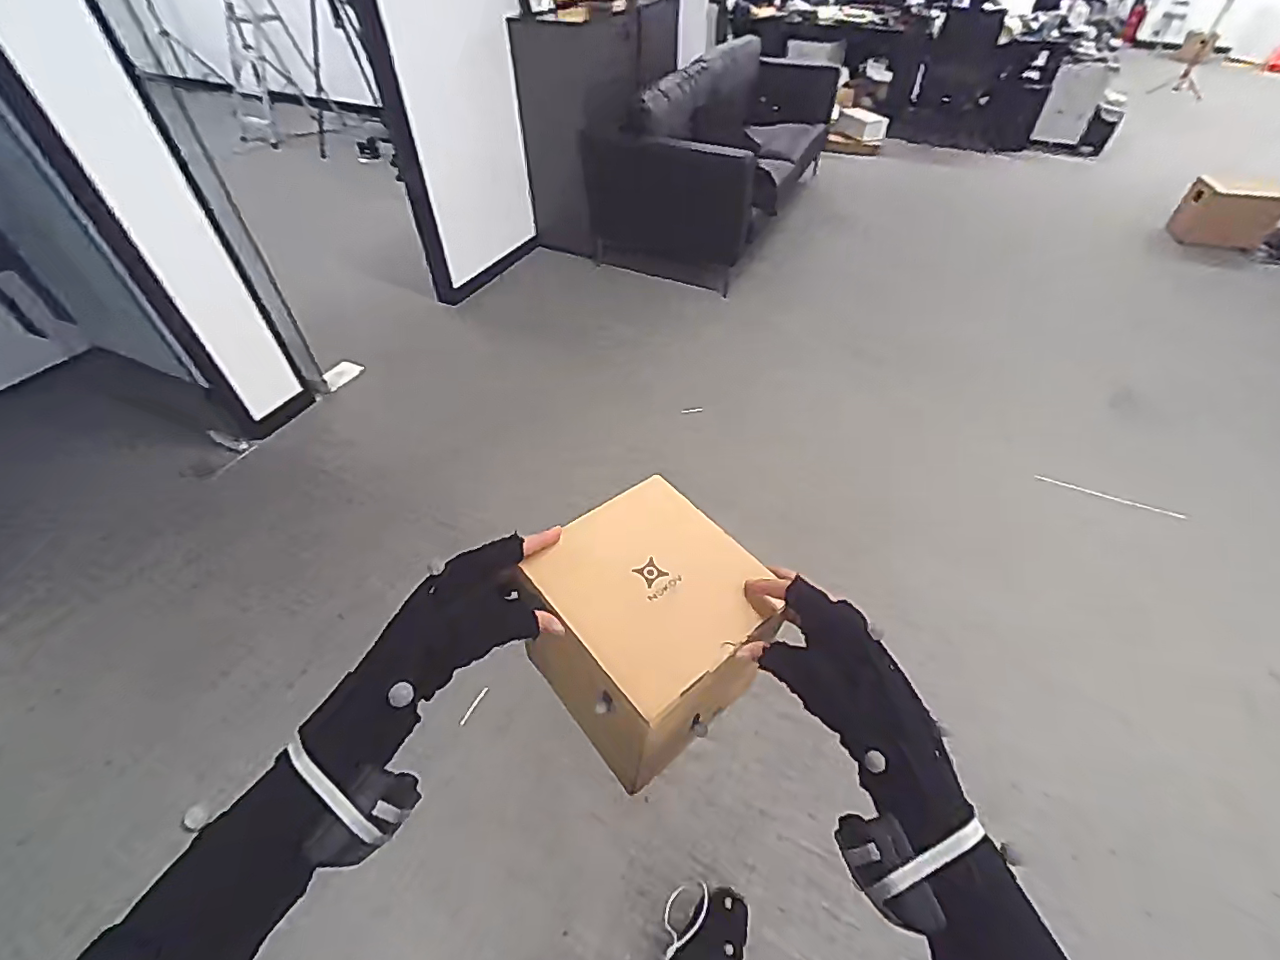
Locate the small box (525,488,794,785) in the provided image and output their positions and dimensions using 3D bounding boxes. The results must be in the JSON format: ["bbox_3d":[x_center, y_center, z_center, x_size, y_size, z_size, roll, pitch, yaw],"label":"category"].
[{"bbox_3d":[0.006,0.145,0.512,0.168,0.176,0.179,-28,56,-31],"label":"small box"}]
